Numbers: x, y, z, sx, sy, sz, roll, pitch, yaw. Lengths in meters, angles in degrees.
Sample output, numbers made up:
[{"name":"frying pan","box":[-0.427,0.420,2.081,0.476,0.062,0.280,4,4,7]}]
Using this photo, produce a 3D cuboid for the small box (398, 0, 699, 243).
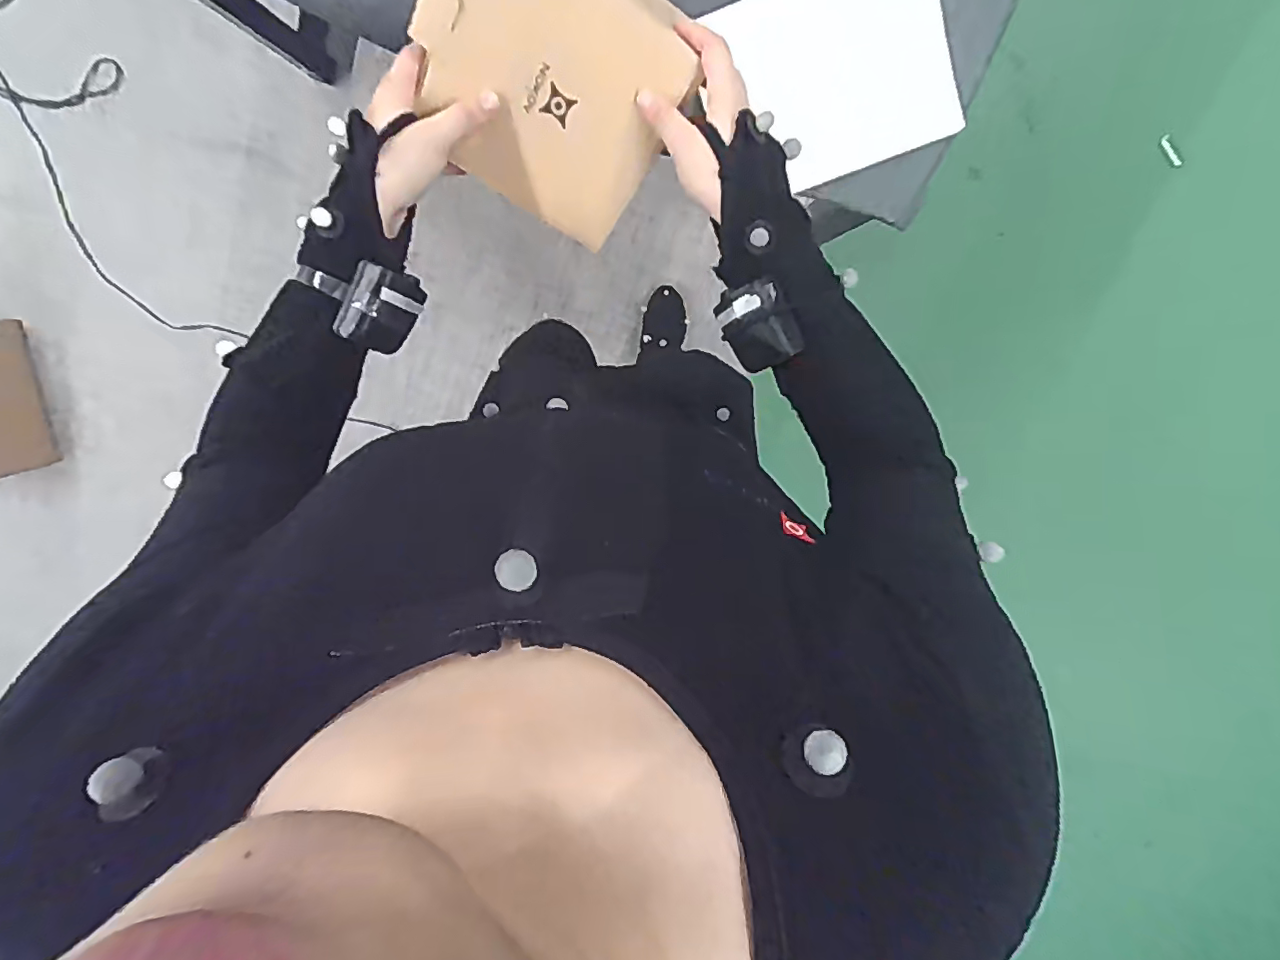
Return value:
[{"name":"small box","box":[-0.071,-0.347,0.454,0.179,0.176,0.168,23,133,-24]}]
